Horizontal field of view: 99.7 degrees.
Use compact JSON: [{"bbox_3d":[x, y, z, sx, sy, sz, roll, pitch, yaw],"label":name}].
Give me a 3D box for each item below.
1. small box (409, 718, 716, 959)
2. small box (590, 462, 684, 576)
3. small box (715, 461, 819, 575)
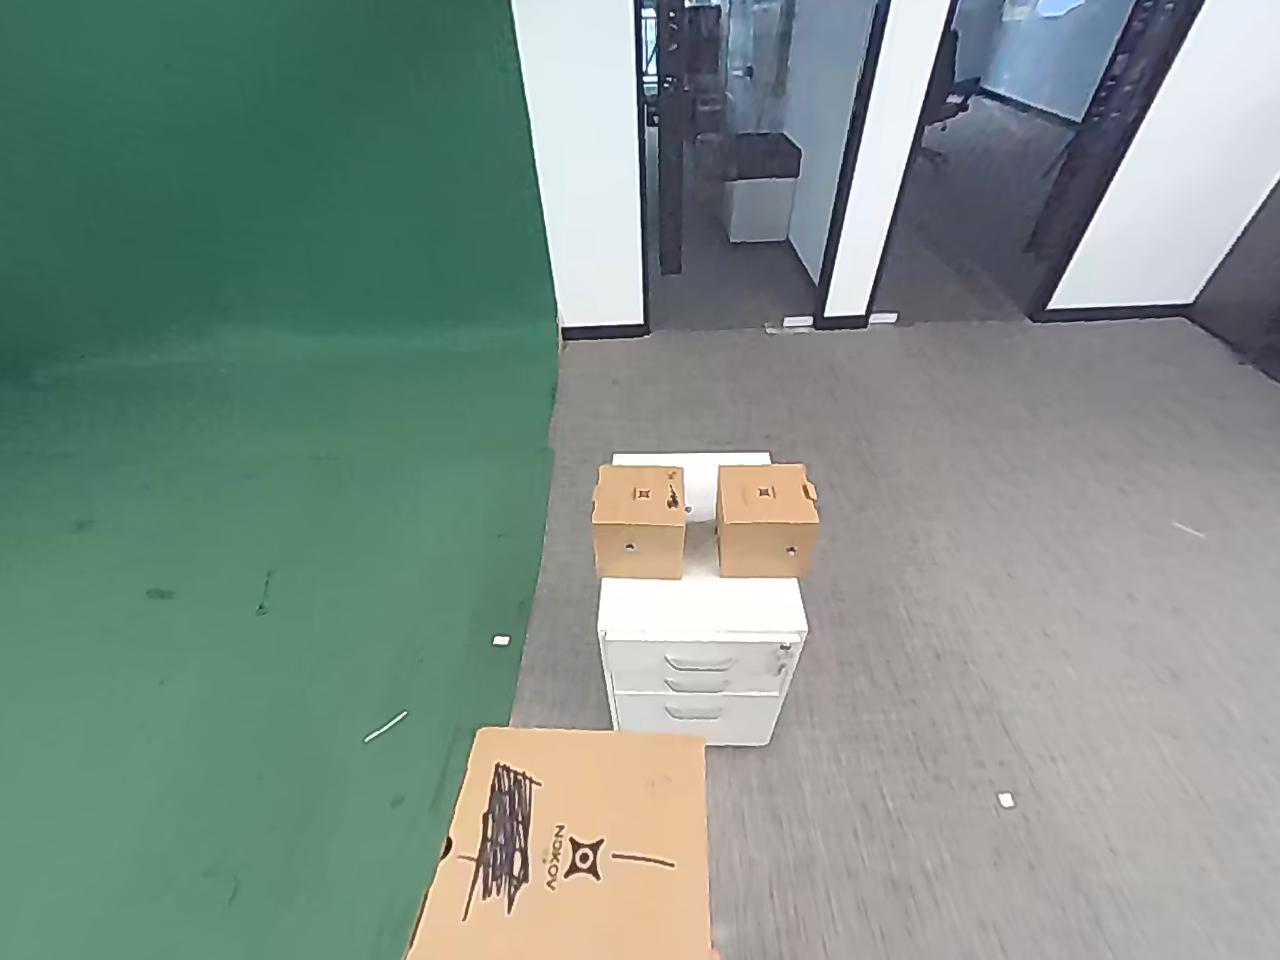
[{"bbox_3d":[-0.036,0.299,0.397,0.179,0.176,0.168,1,37,4],"label":"small box"},{"bbox_3d":[0.000,0.080,1.096,0.179,0.176,0.168,1,45,2],"label":"small box"},{"bbox_3d":[0.246,0.078,1.091,0.179,0.176,0.168,-1,44,4],"label":"small box"}]
